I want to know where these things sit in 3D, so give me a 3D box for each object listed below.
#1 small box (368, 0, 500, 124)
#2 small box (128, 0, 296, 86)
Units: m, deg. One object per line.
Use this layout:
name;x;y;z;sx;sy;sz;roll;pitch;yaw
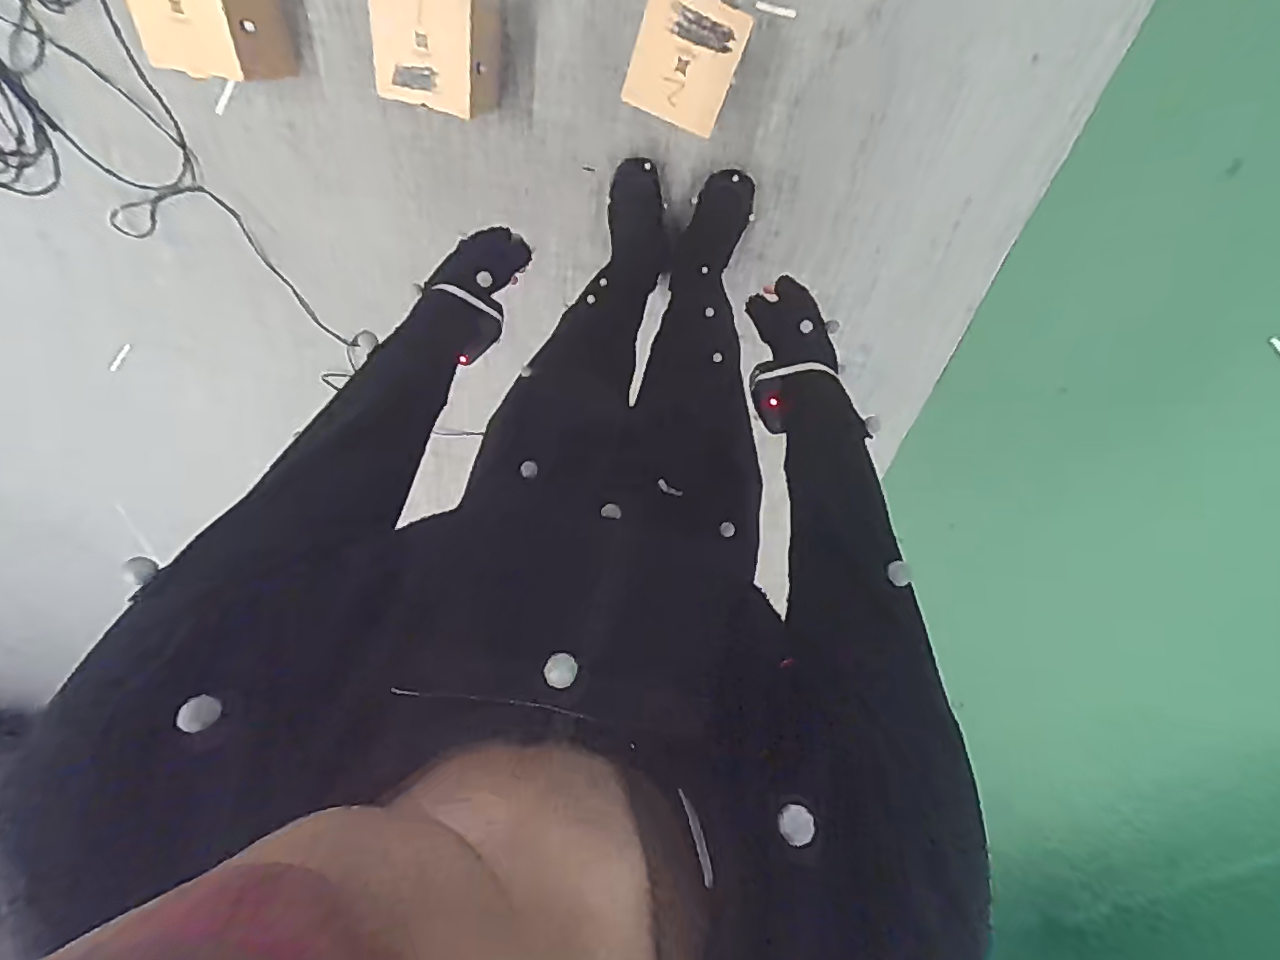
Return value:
small box;-0.353;-0.760;0.954;0.168;0.176;0.179;13;129;-4
small box;-0.752;-0.821;0.953;0.168;0.176;0.179;9;131;0
